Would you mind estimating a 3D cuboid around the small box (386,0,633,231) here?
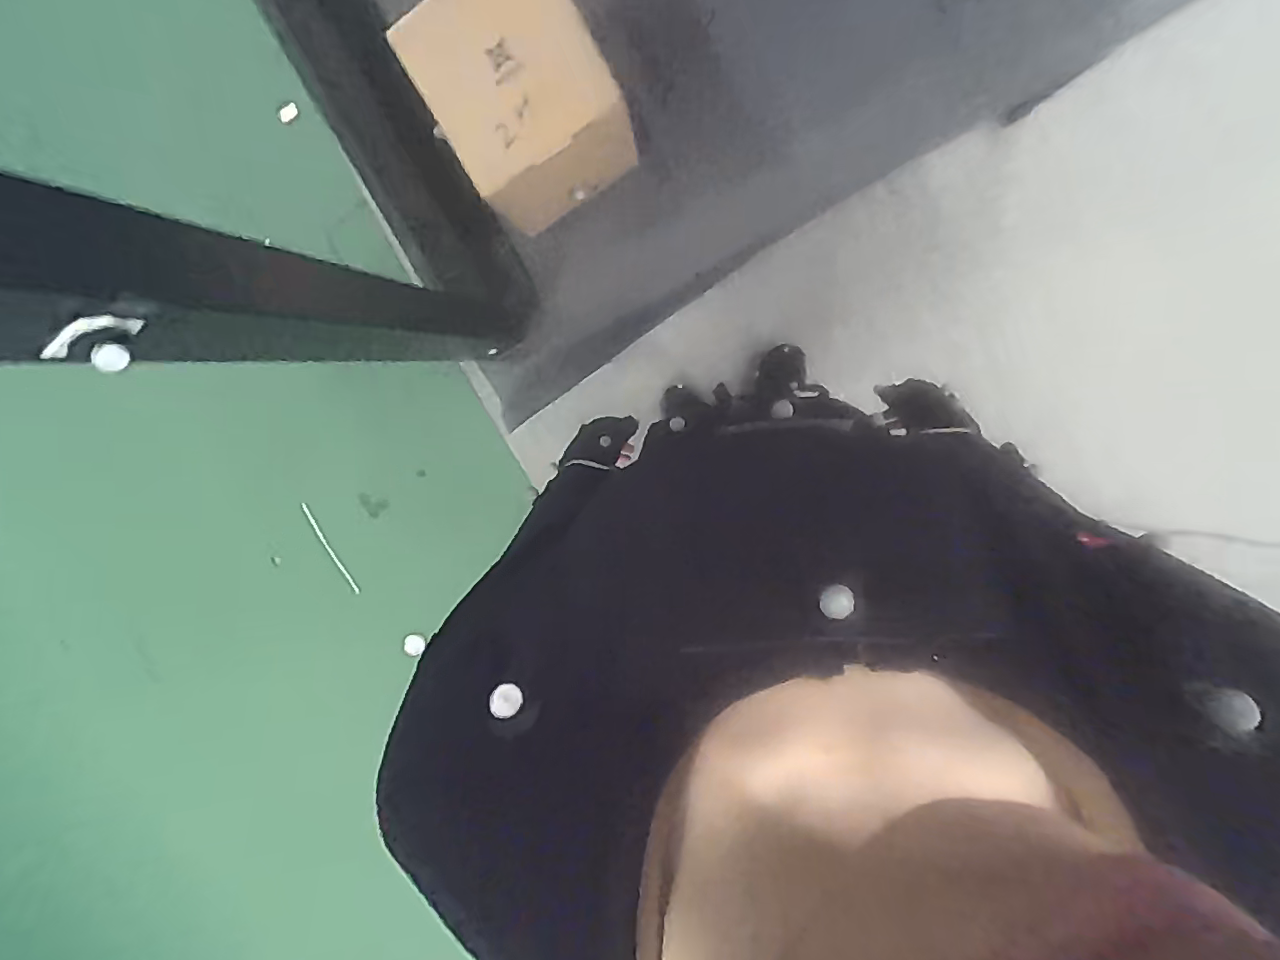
[{"bbox_3d":[-0.124,-0.406,0.587,0.168,0.176,0.179,-30,97,11],"label":"small box"}]
